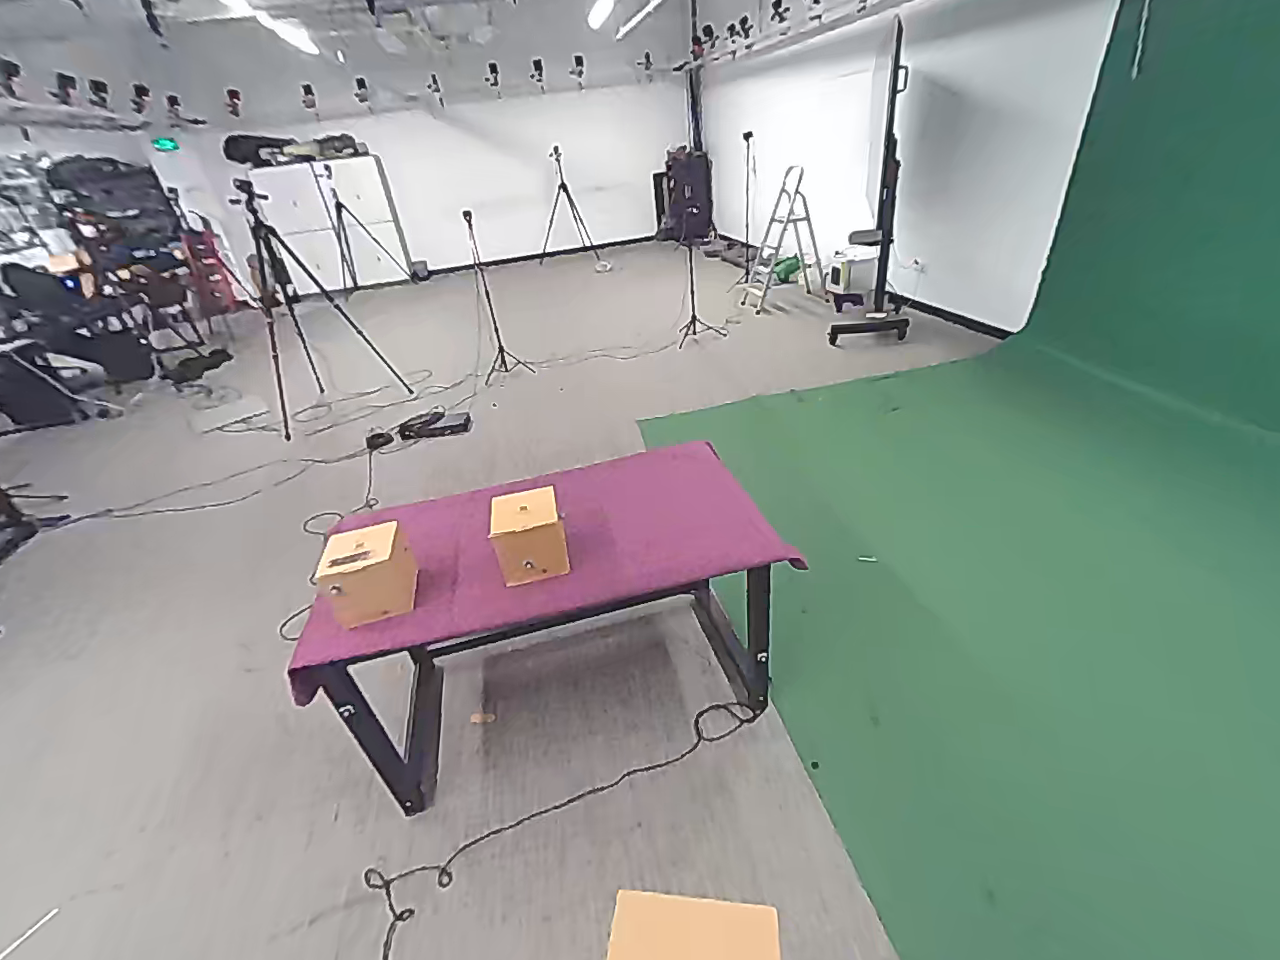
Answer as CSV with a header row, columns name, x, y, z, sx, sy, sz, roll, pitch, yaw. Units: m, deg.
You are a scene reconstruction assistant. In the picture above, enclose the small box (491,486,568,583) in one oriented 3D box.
name,x,y,z,sx,sy,sz,roll,pitch,yaw
small box,-0.287,0.141,1.413,0.168,0.176,0.179,-11,32,-8
